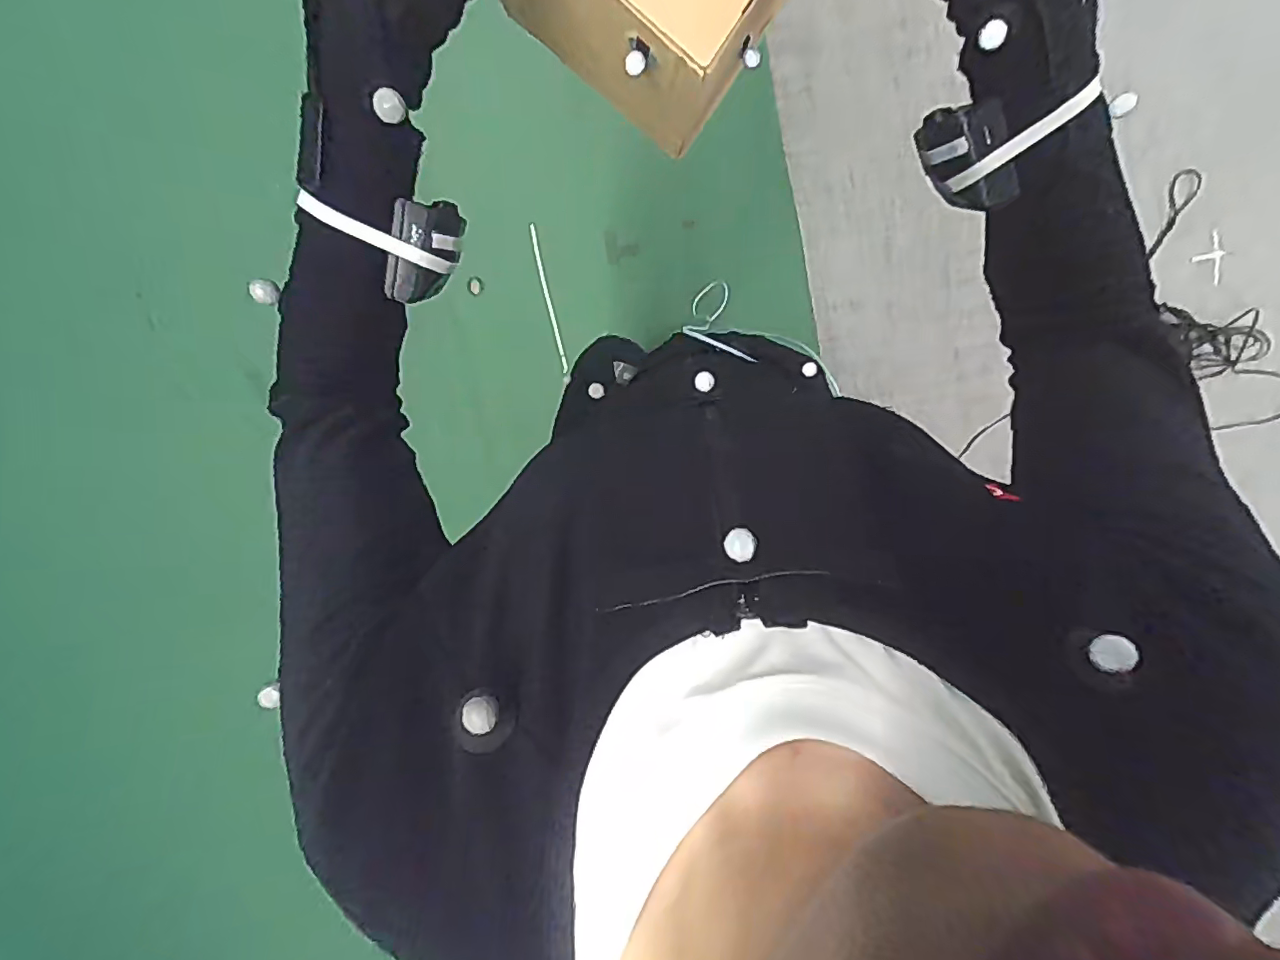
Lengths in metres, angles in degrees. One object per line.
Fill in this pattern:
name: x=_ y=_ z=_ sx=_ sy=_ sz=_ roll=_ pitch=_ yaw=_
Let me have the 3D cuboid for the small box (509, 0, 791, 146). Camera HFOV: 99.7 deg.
small box: x=0.013 y=-0.357 z=0.345 sx=0.179 sy=0.176 sz=0.168 roll=36 pitch=103 yaw=-12
